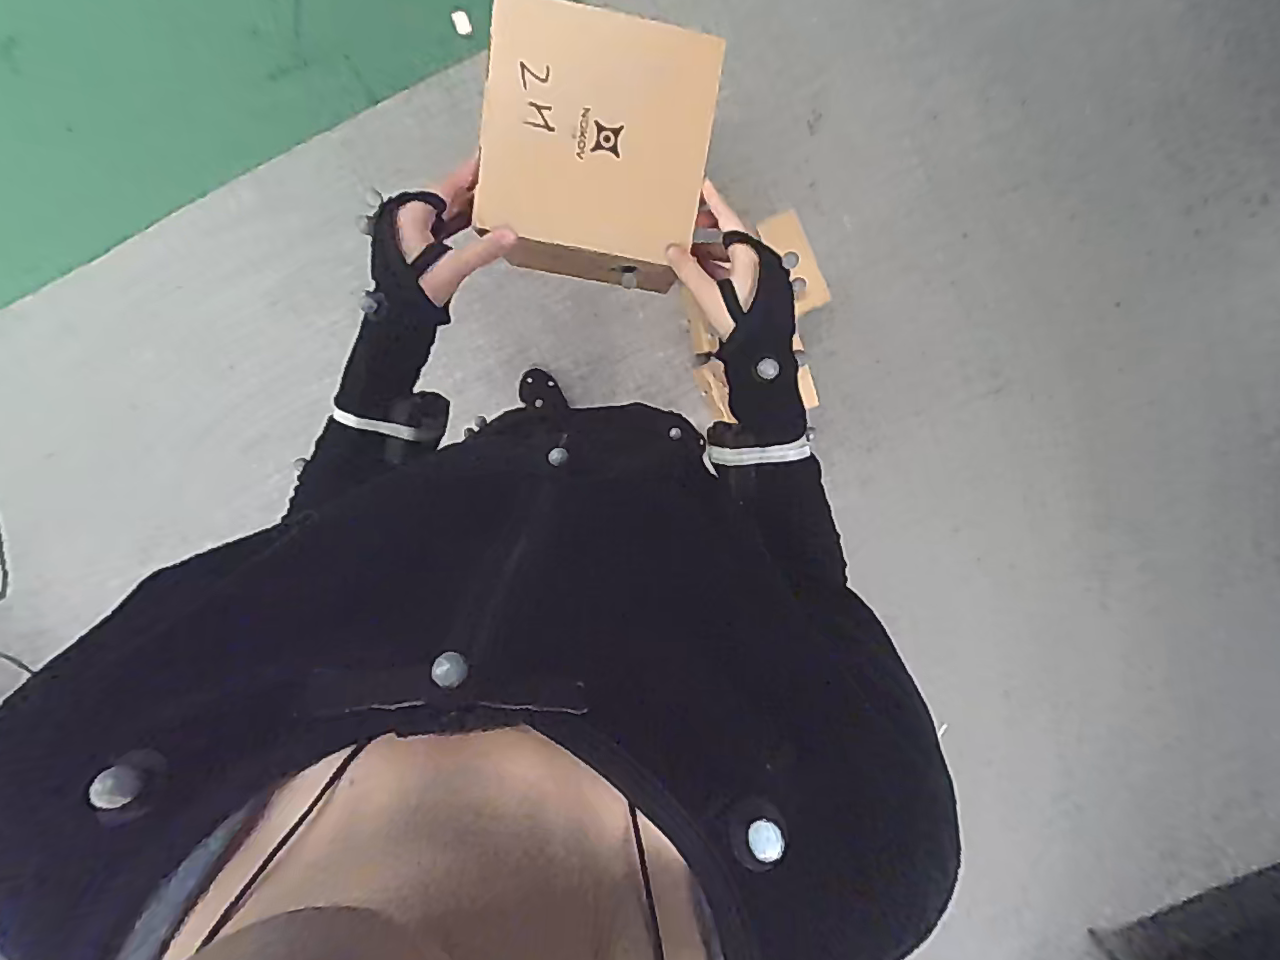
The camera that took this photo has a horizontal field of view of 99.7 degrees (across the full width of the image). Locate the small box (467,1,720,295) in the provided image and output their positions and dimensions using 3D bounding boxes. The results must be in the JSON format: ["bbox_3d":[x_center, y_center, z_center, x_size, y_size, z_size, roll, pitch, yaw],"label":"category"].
[{"bbox_3d":[-0.041,-0.274,0.494,0.179,0.176,0.168,9,101,-4],"label":"small box"}]

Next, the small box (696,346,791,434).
[{"bbox_3d":[0.261,-0.236,1.401,0.179,0.176,0.168,-25,101,3],"label":"small box"}]
